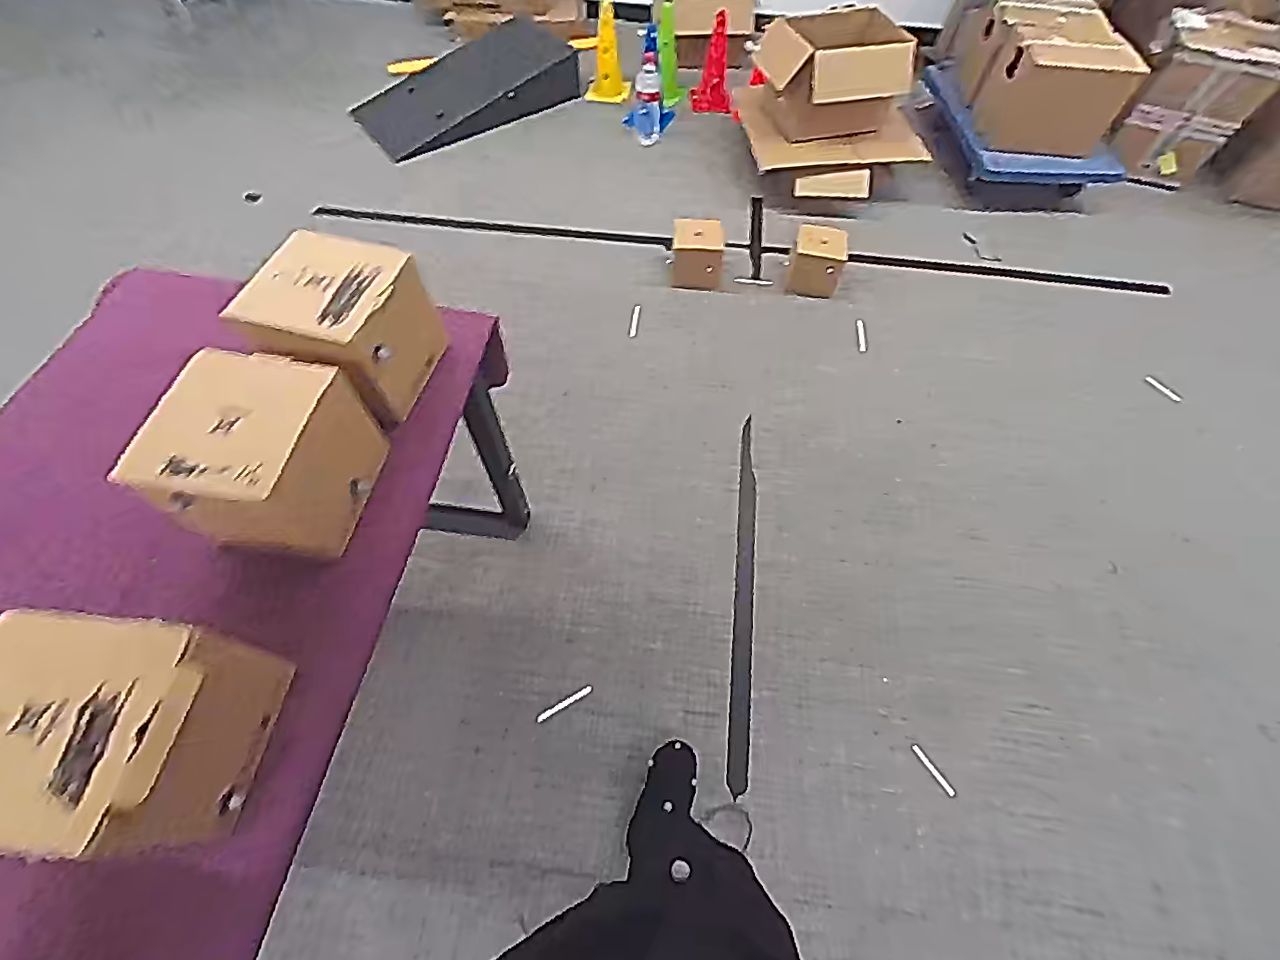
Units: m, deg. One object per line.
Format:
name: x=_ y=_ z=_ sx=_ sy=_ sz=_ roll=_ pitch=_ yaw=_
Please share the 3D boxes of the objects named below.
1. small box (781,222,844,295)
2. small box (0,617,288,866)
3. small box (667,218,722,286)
small box: x=0.626 y=-0.800 z=1.964 sx=0.179 sy=0.176 sz=0.168 roll=10 pitch=60 yaw=3
small box: x=-0.472 y=0.235 z=0.495 sx=0.179 sy=0.176 sz=0.168 roll=5 pitch=60 yaw=1
small box: x=0.194 y=-0.823 z=1.961 sx=0.179 sy=0.176 sz=0.168 roll=1 pitch=59 yaw=-1
